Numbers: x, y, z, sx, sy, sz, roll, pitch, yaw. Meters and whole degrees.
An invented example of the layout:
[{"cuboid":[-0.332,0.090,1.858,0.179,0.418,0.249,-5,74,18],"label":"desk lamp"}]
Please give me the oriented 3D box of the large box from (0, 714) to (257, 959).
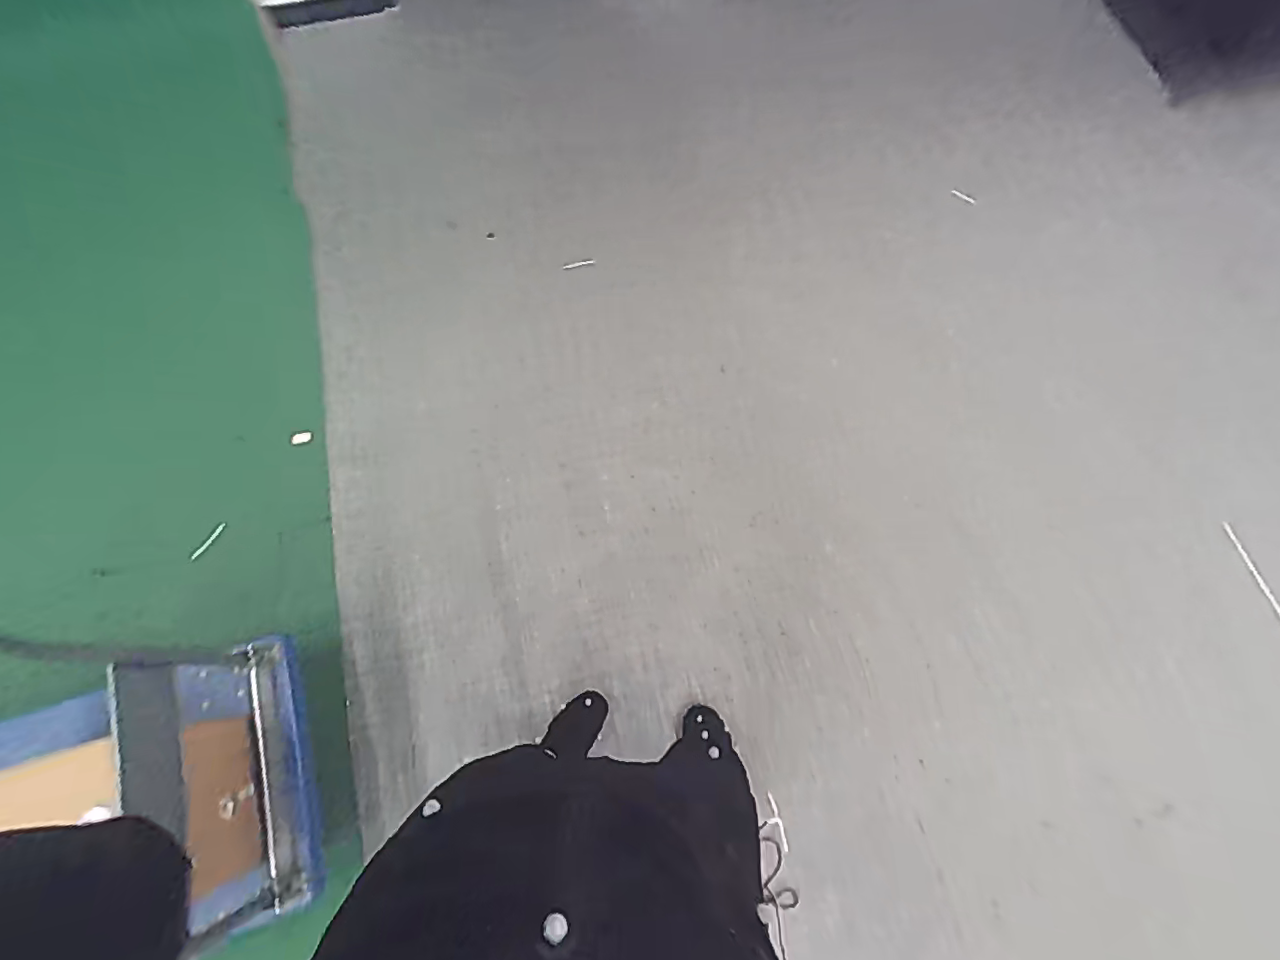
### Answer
[{"cuboid":[-1.032,0.677,1.013,0.408,0.320,0.320,-17,73,-5],"label":"large box"}]
